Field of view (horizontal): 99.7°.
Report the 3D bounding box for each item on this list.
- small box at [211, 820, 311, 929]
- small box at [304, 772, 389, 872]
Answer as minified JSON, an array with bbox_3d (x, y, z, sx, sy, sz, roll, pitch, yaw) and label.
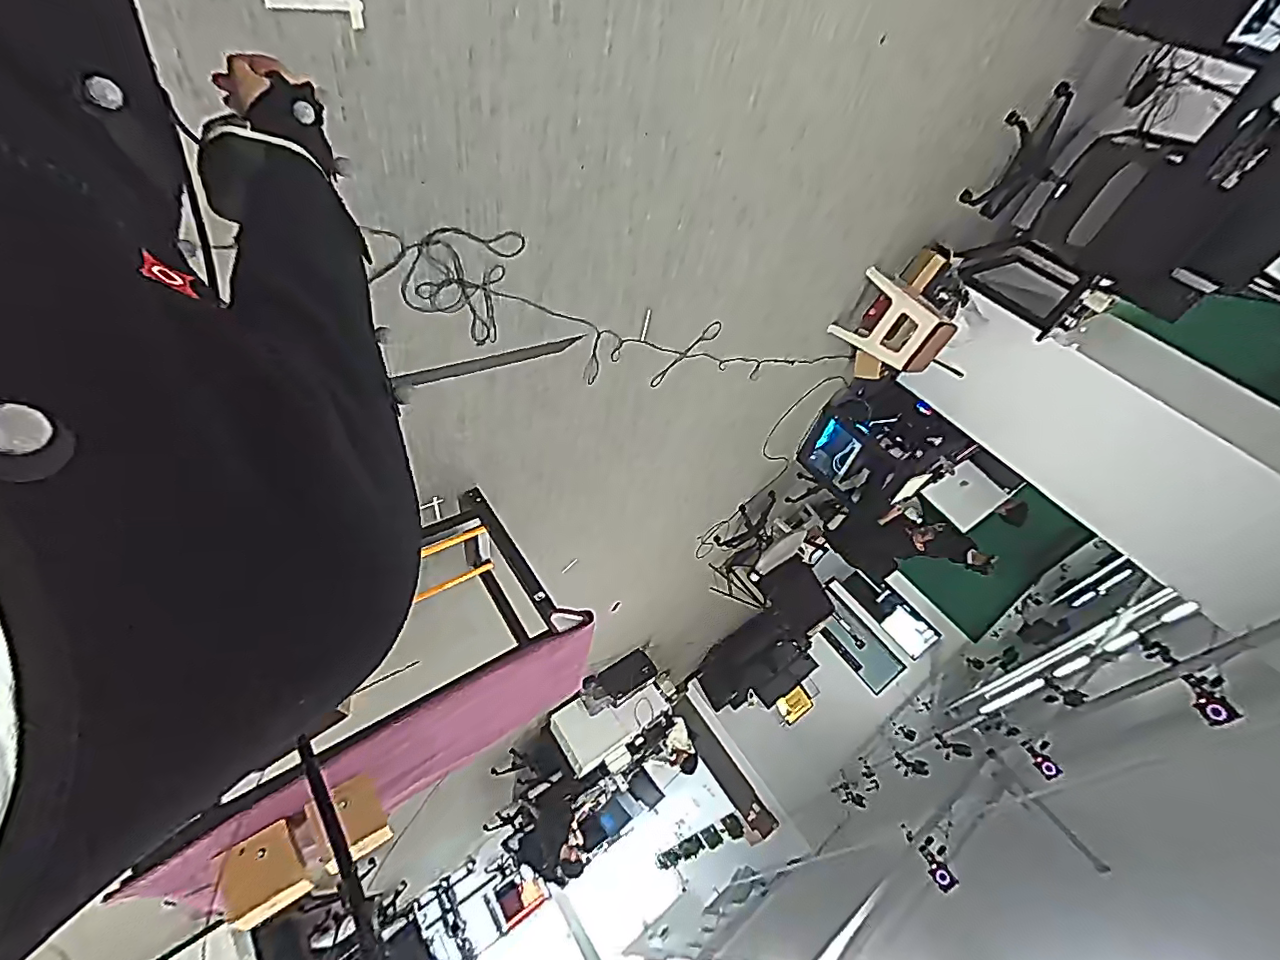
[{"bbox_3d":[-1.000,1.039,1.432,0.168,0.176,0.179,-21,148,-34],"label":"small box"},{"bbox_3d":[-0.832,0.969,1.539,0.168,0.176,0.179,-21,148,-34],"label":"small box"}]
